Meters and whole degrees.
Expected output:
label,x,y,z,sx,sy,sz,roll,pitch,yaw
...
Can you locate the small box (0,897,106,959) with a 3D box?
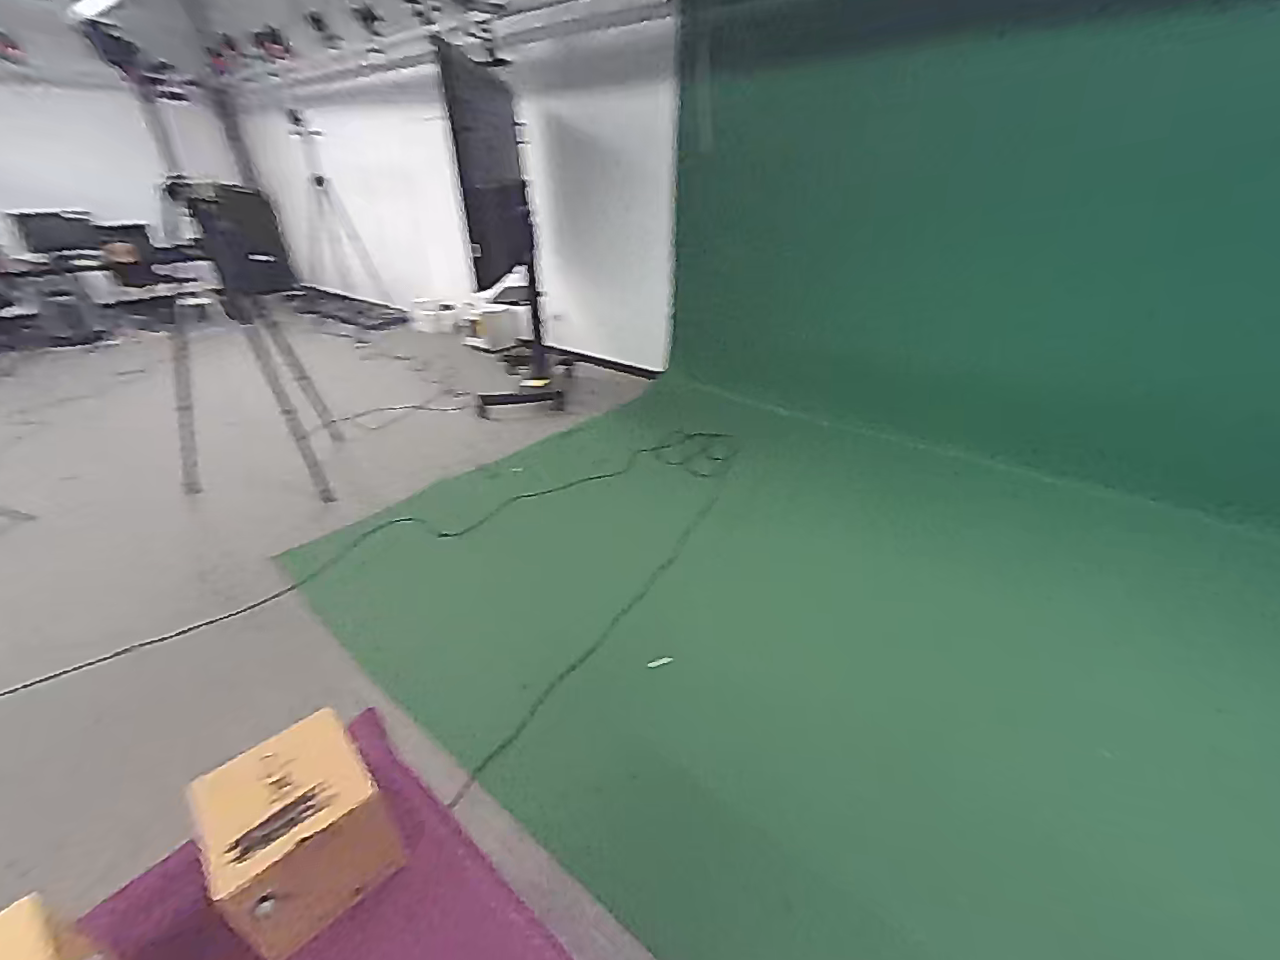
label,x,y,z,sx,sy,sz,roll,pitch,yaw
small box,-0.616,0.565,0.510,0.179,0.176,0.168,21,36,32
